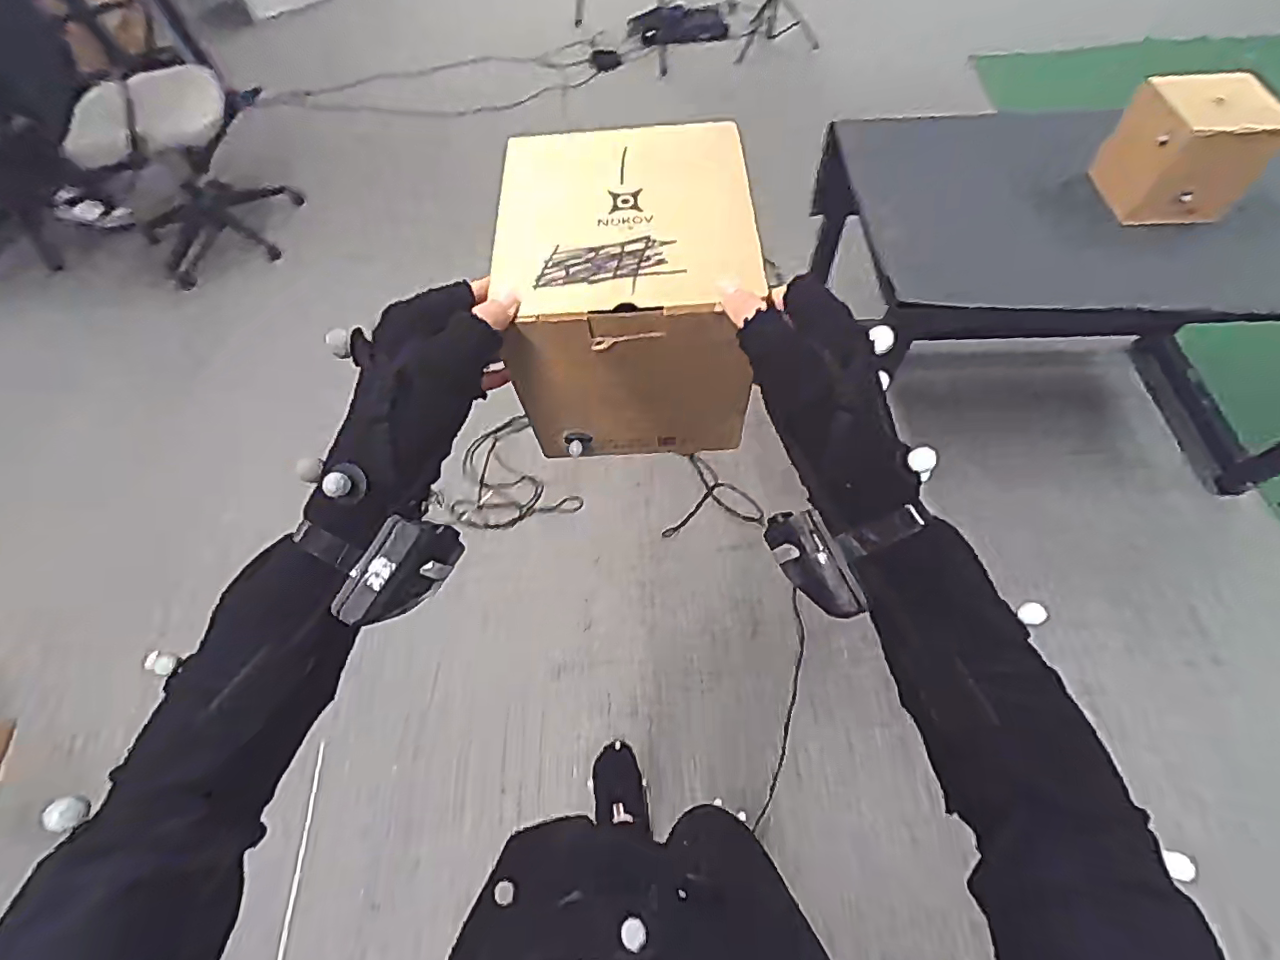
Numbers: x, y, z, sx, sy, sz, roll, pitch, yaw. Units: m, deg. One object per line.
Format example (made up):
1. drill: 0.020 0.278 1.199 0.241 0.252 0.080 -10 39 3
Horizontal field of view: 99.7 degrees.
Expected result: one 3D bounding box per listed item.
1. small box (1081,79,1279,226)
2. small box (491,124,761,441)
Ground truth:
1. small box: 0.960 -0.590 0.980 0.168 0.176 0.179 -1 61 3
2. small box: -0.004 -0.140 0.427 0.168 0.176 0.179 -2 62 2
